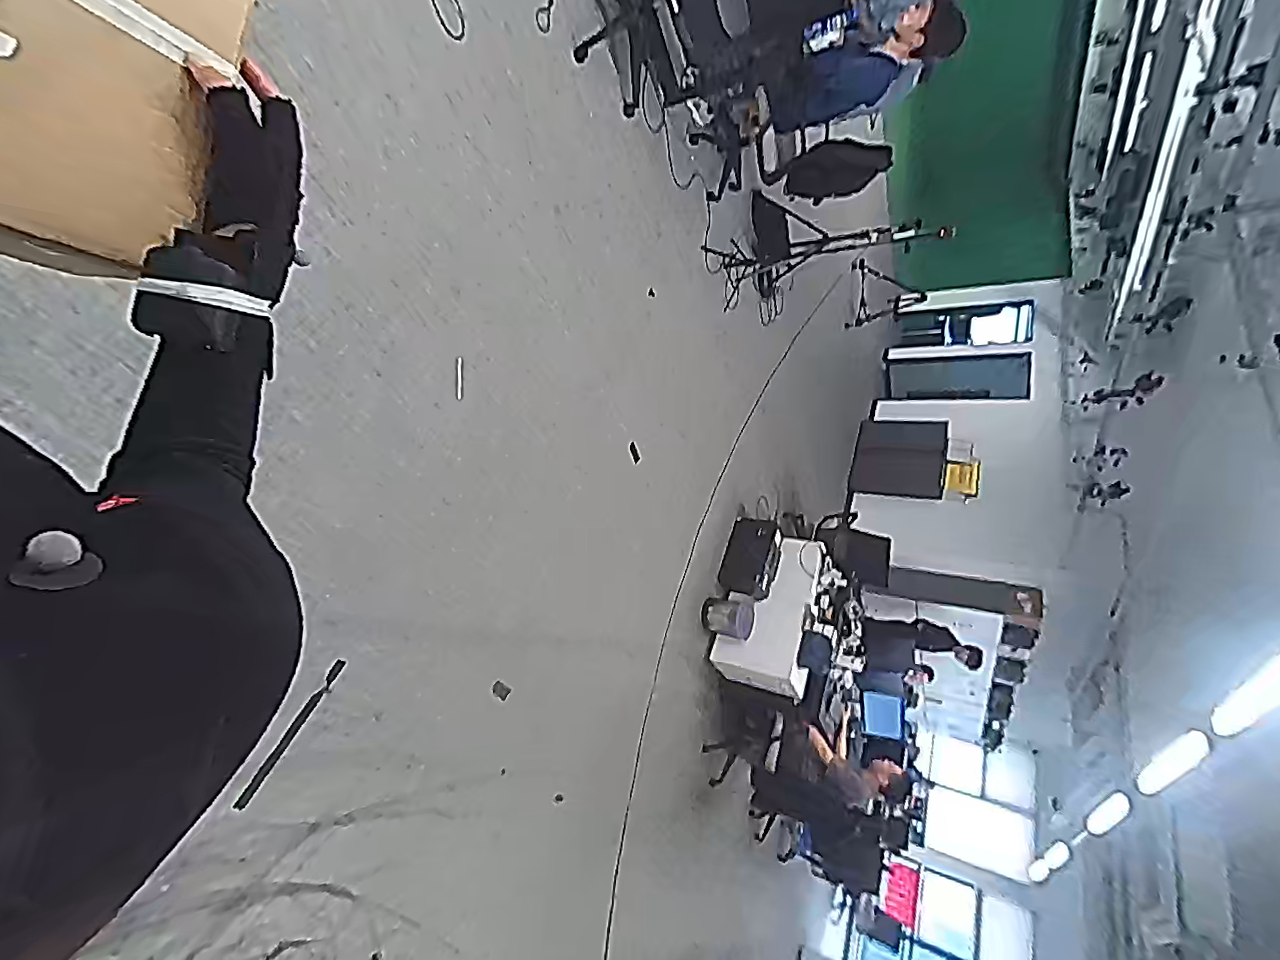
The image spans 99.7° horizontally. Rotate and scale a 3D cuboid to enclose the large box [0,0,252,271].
[{"bbox_3d":[-0.542,-0.359,0.330,0.408,0.320,0.320,10,95,-59],"label":"large box"}]
